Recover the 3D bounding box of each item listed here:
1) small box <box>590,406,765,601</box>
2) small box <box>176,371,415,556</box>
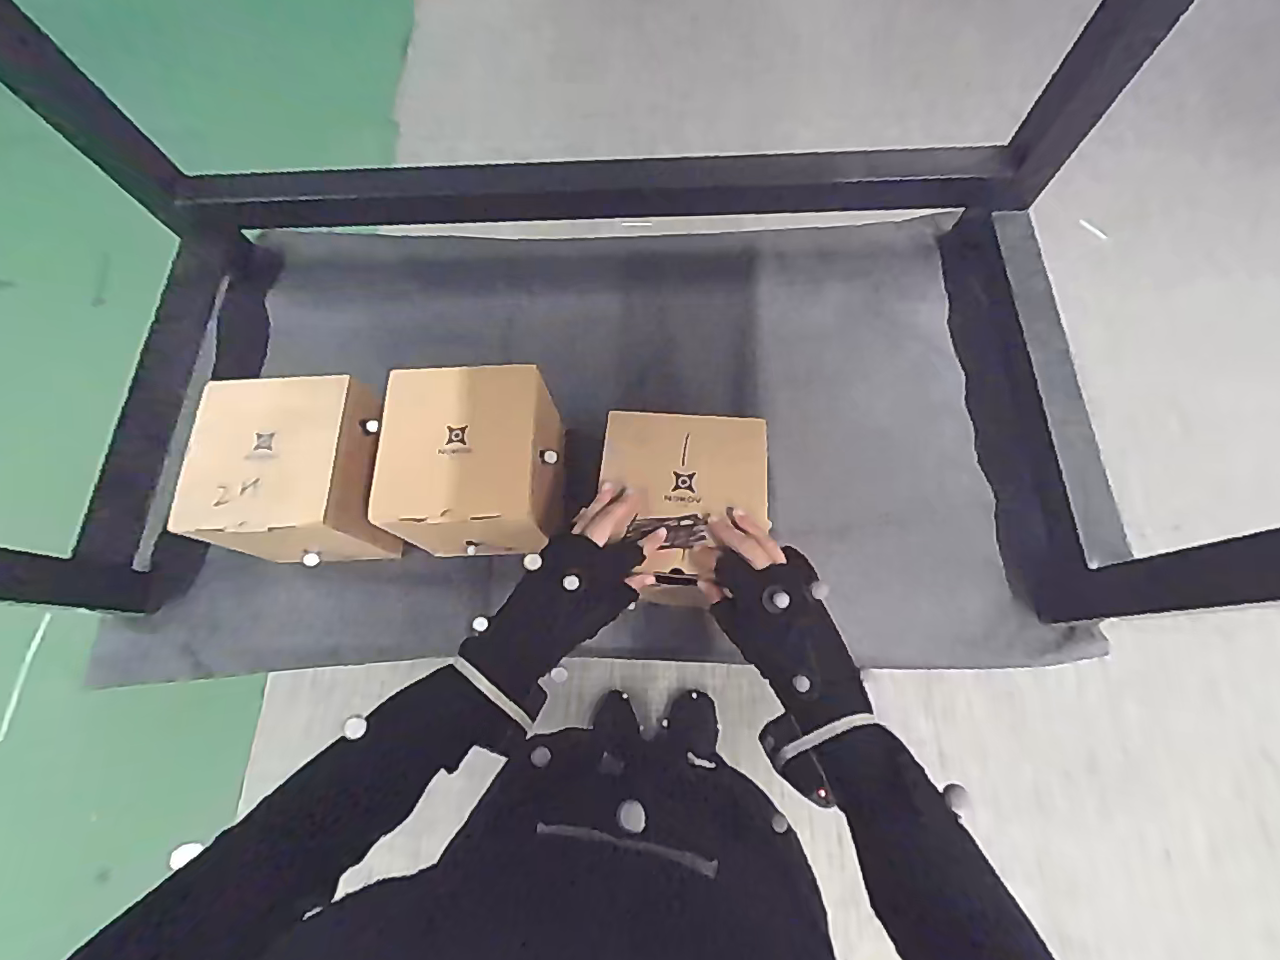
[{"bbox_3d":[0.045,0.036,0.612,0.168,0.176,0.179,4,70,4],"label":"small box"},{"bbox_3d":[-0.390,-0.012,0.652,0.168,0.176,0.179,-2,71,2],"label":"small box"}]
